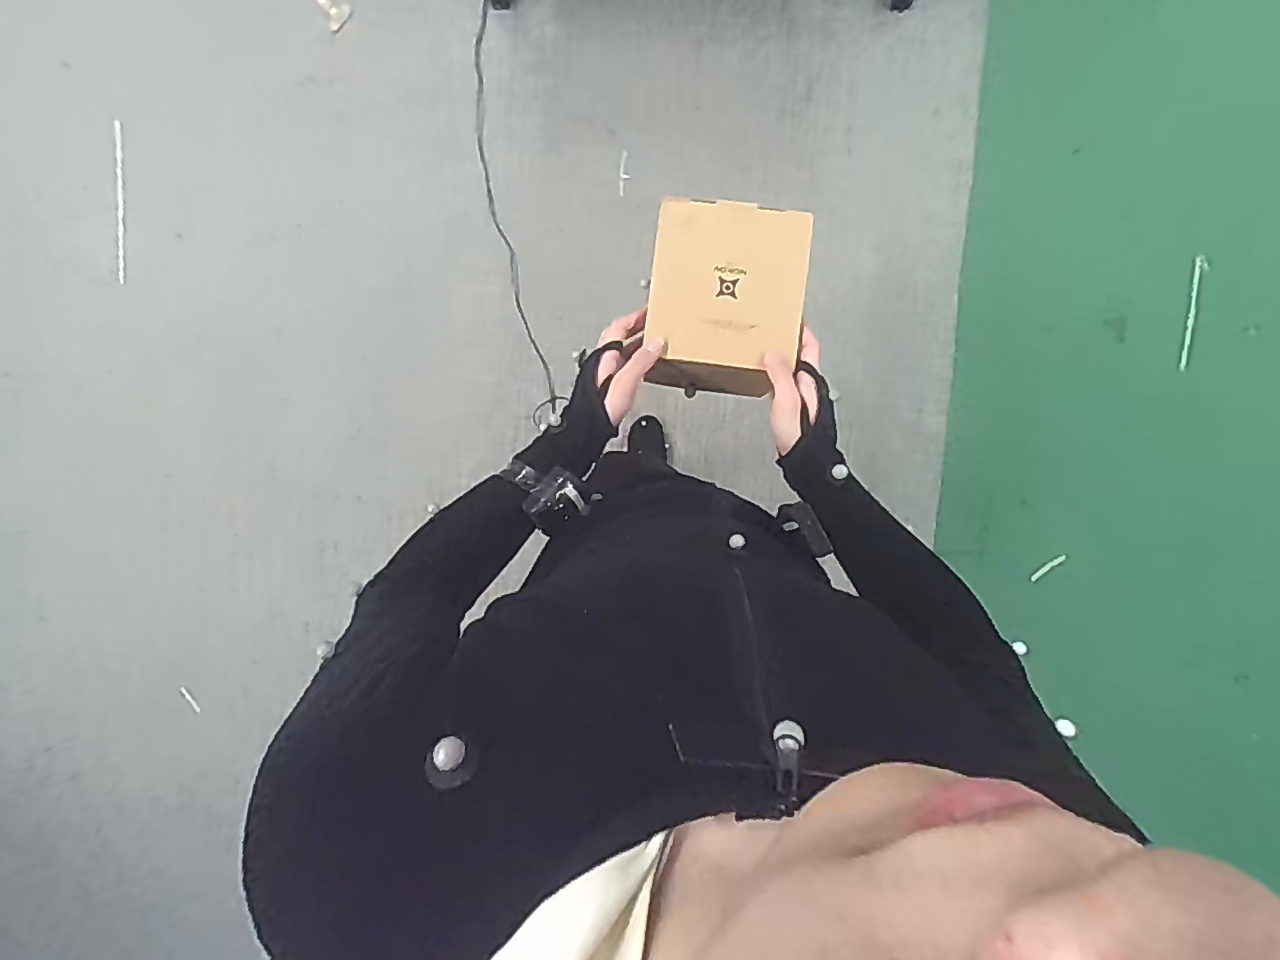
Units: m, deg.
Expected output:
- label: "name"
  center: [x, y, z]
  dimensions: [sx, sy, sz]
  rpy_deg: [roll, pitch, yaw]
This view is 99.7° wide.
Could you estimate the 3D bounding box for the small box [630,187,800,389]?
- label: "small box"
  center: [0.082, -0.218, 0.656]
  dimensions: [0.168, 0.176, 0.179]
  rpy_deg: [7, 91, 2]
